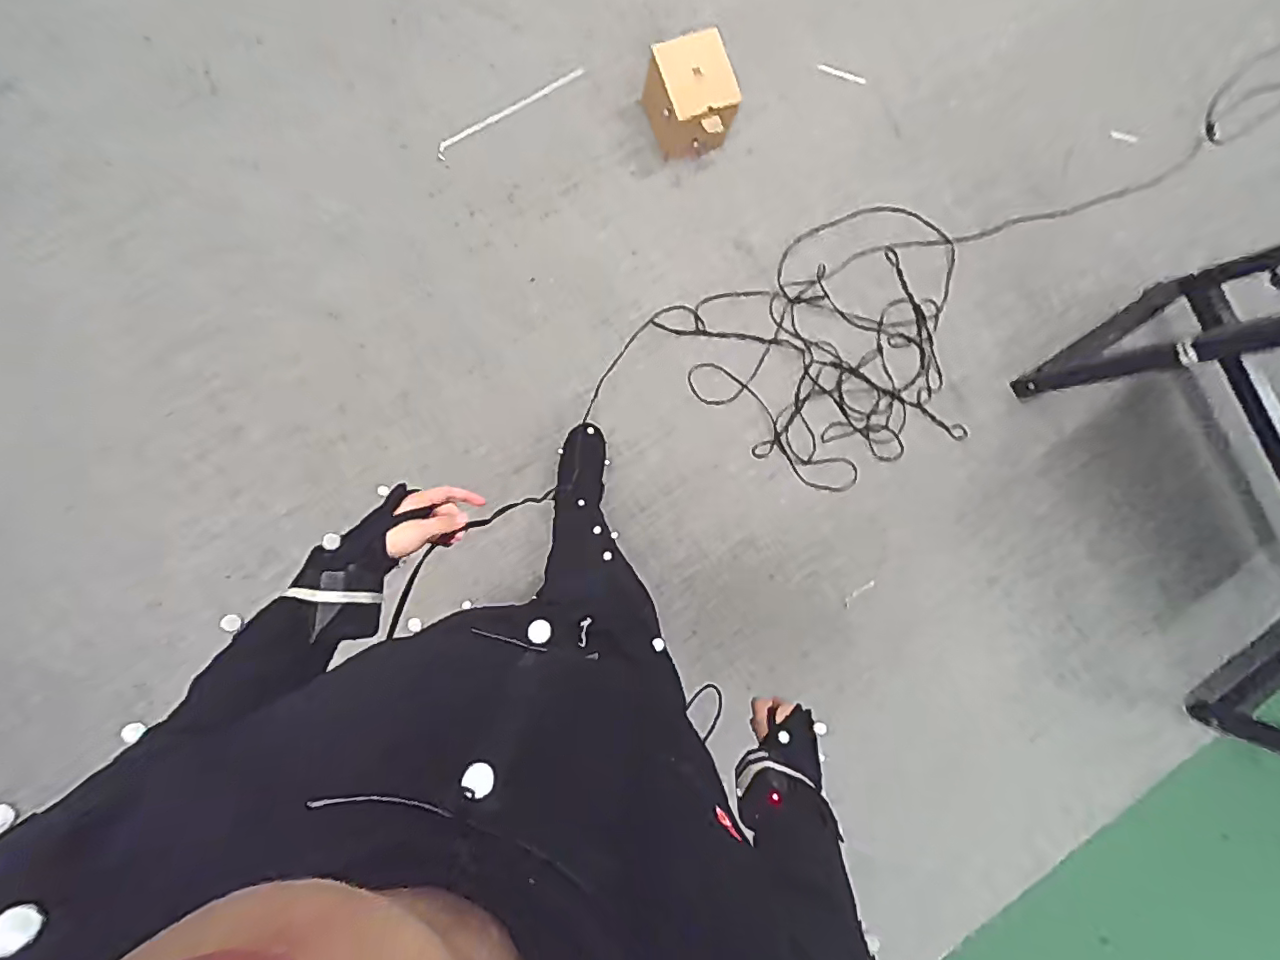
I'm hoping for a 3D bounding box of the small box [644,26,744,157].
[{"bbox_3d":[0.121,-0.927,1.303,0.168,0.176,0.179,-22,95,-8],"label":"small box"}]
